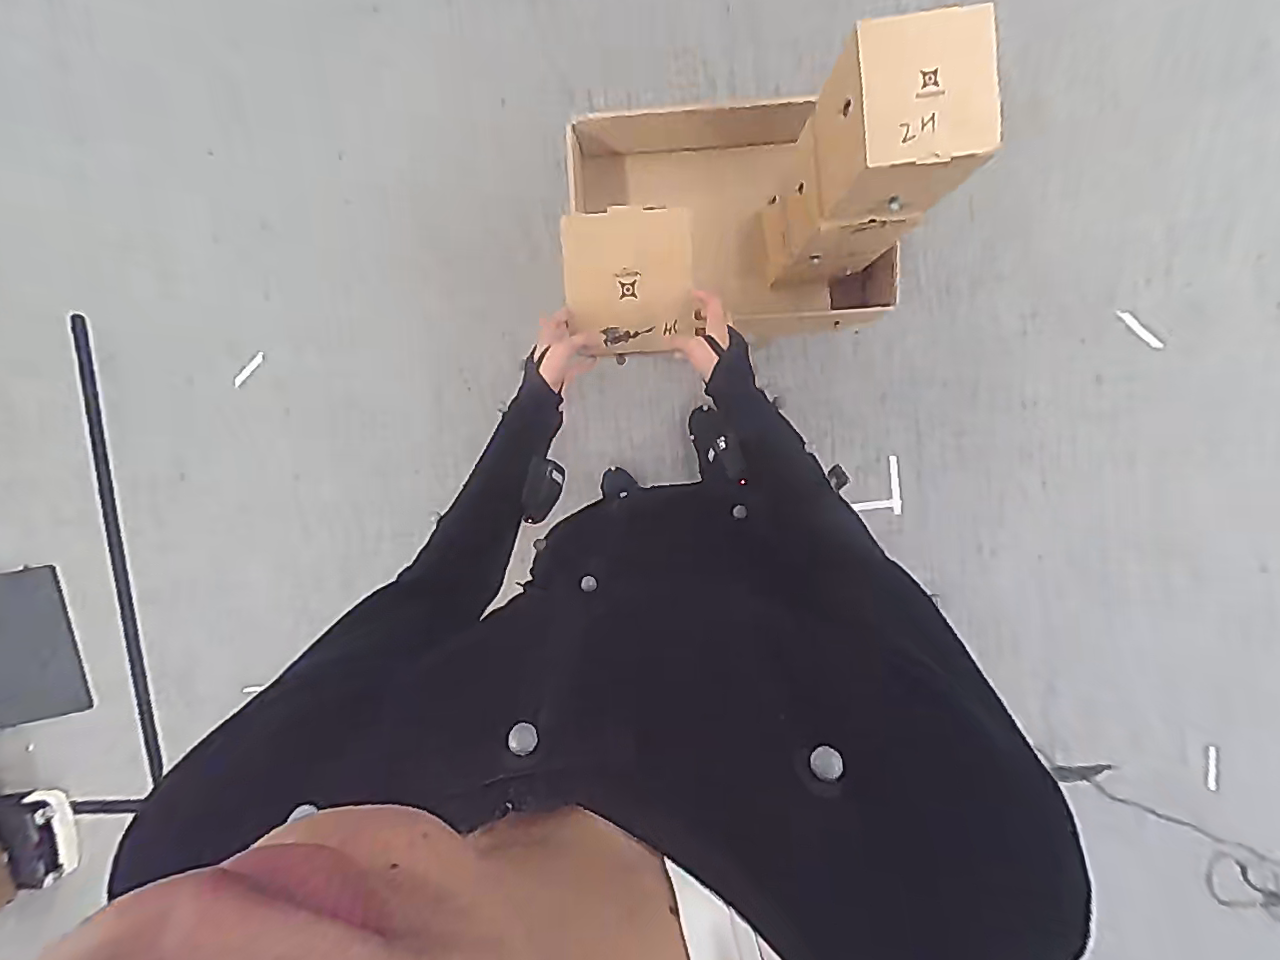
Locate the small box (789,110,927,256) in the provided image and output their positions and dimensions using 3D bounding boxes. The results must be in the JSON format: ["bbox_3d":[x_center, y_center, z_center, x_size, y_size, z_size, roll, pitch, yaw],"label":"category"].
[{"bbox_3d":[0.352,-0.486,0.897,0.168,0.176,0.179,-6,95,2],"label":"small box"}]

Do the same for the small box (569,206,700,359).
[{"bbox_3d":[-0.002,-0.265,0.763,0.168,0.176,0.179,-2,101,5],"label":"small box"}]

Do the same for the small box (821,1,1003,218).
[{"bbox_3d":[0.354,-0.484,0.732,0.168,0.176,0.179,-6,96,2],"label":"small box"}]
